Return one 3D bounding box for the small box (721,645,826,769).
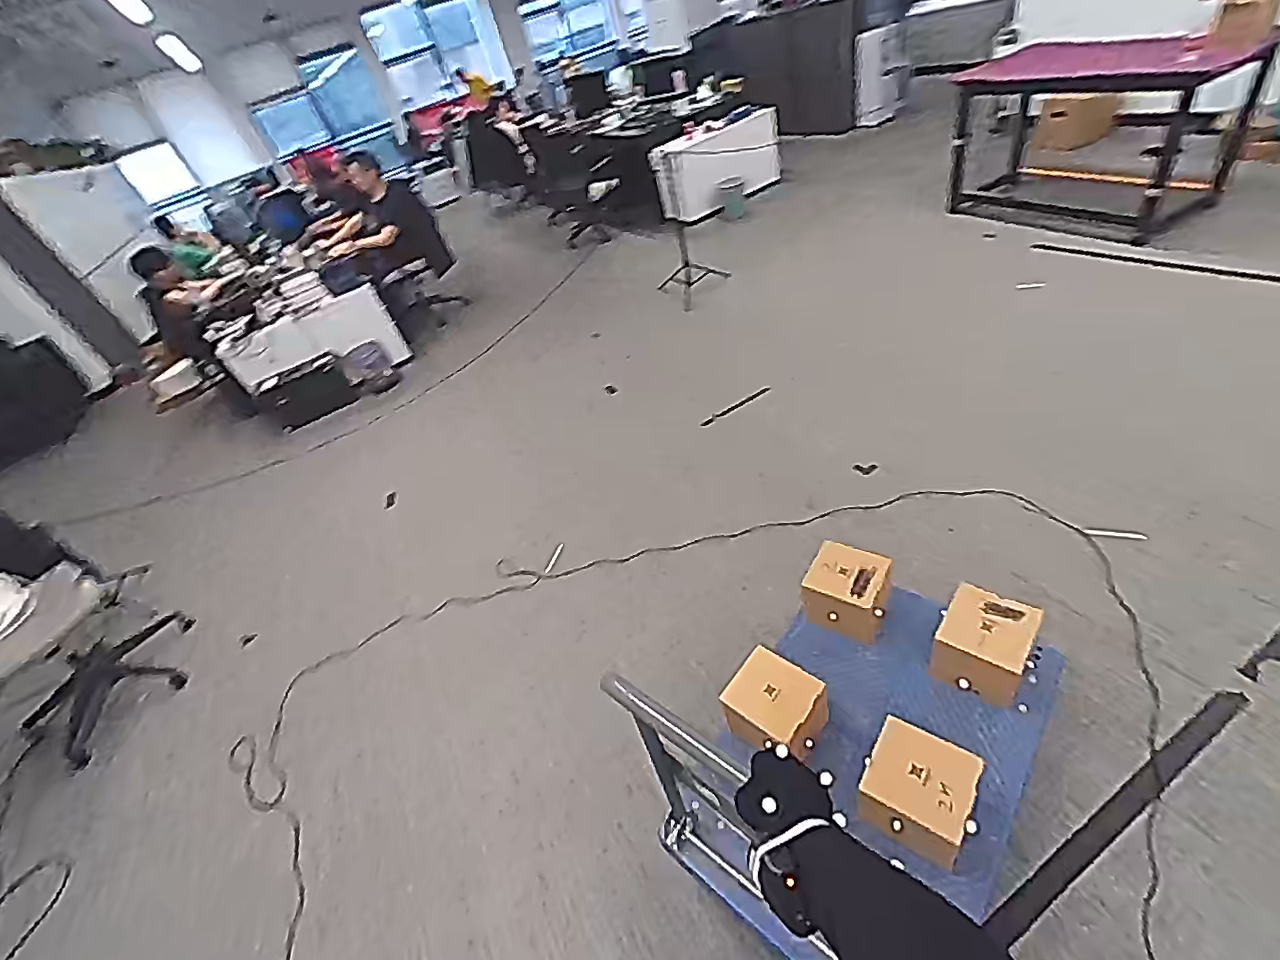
[{"bbox_3d":[0.311,0.525,1.247,0.179,0.176,0.168,24,55,37],"label":"small box"}]

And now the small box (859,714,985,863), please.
[{"bbox_3d":[0.546,0.605,1.061,0.179,0.176,0.168,17,52,36],"label":"small box"}]

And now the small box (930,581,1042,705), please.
[{"bbox_3d":[0.782,0.372,1.236,0.168,0.176,0.179,20,55,38],"label":"small box"}]
